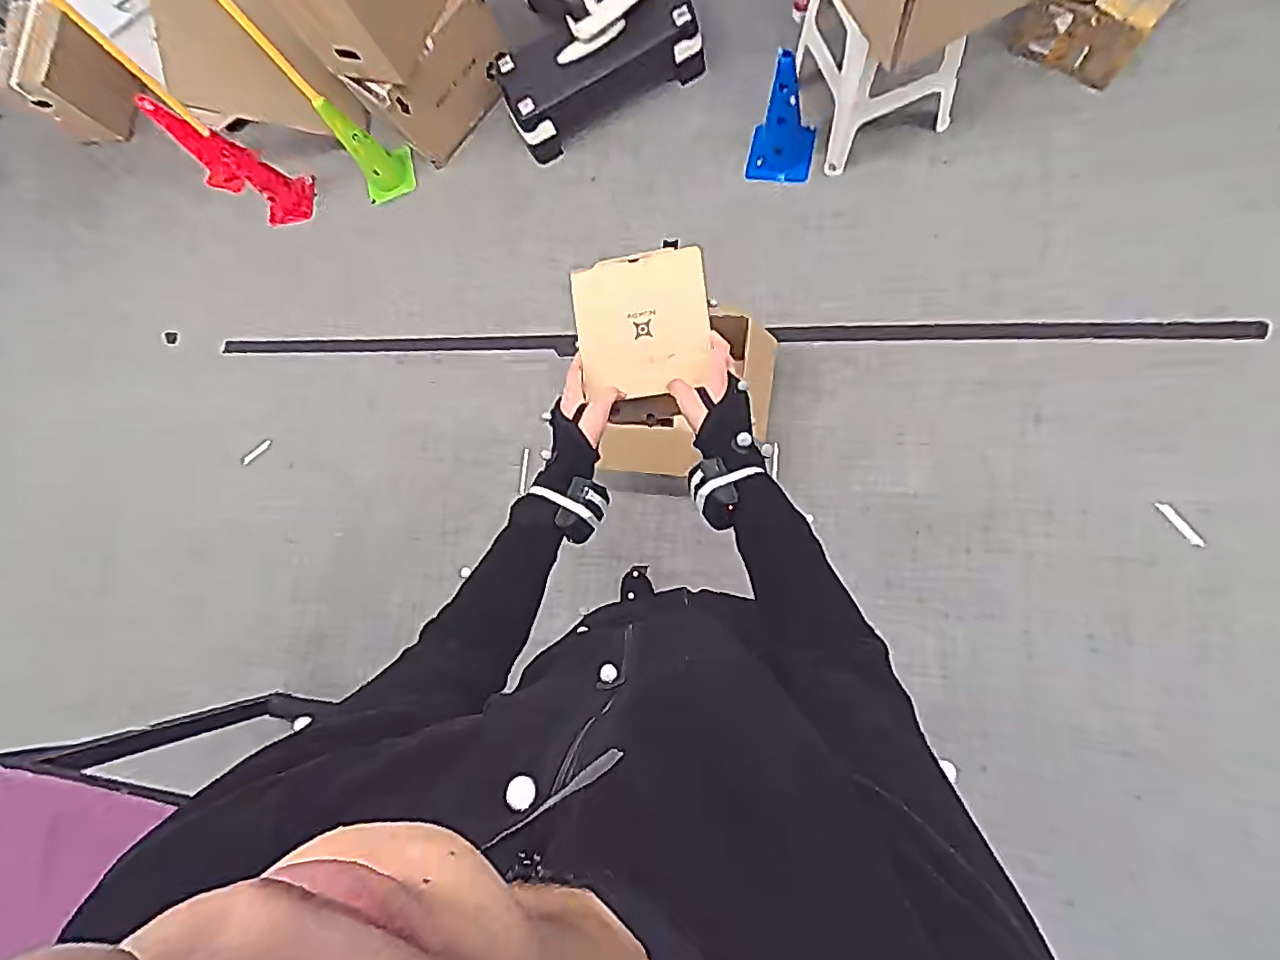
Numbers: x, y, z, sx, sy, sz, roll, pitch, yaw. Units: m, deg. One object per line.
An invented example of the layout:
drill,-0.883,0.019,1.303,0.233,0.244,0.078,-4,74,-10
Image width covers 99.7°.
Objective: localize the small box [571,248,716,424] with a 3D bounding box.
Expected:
small box,0.011,-0.185,0.744,0.168,0.176,0.179,-8,86,8
